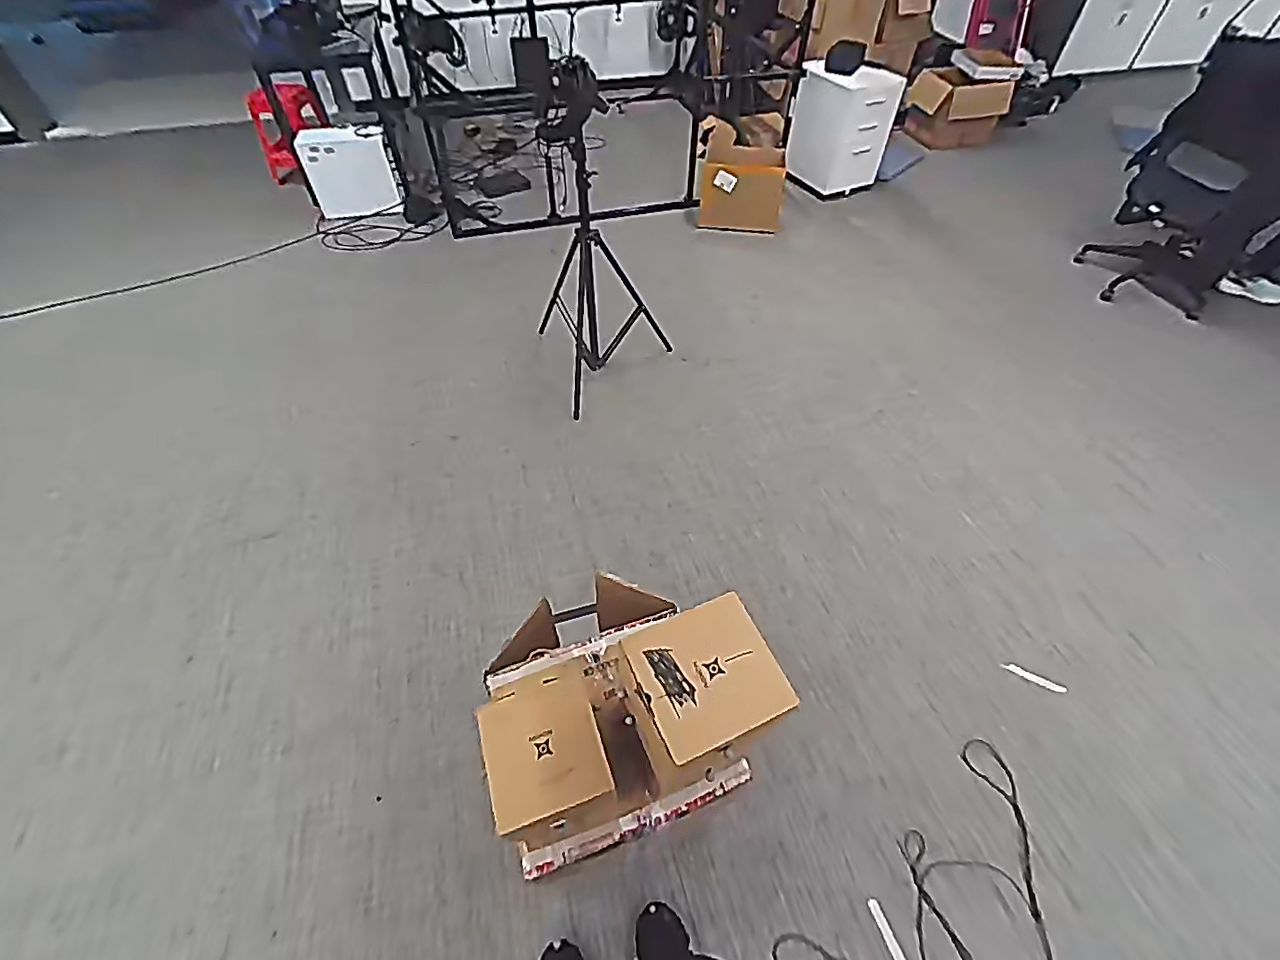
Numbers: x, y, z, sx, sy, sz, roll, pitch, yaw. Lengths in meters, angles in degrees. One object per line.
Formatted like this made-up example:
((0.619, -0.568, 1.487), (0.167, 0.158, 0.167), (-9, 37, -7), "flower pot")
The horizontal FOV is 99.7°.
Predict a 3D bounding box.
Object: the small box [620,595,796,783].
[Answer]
((0.082, 0.294, 0.751), (0.179, 0.176, 0.168), (-19, 56, -16), "small box")

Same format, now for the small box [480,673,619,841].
((-0.137, 0.435, 0.846), (0.168, 0.176, 0.179), (-17, 56, -12), "small box")

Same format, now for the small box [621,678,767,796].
((0.076, 0.389, 0.887), (0.179, 0.176, 0.168), (-19, 56, -17), "small box")
